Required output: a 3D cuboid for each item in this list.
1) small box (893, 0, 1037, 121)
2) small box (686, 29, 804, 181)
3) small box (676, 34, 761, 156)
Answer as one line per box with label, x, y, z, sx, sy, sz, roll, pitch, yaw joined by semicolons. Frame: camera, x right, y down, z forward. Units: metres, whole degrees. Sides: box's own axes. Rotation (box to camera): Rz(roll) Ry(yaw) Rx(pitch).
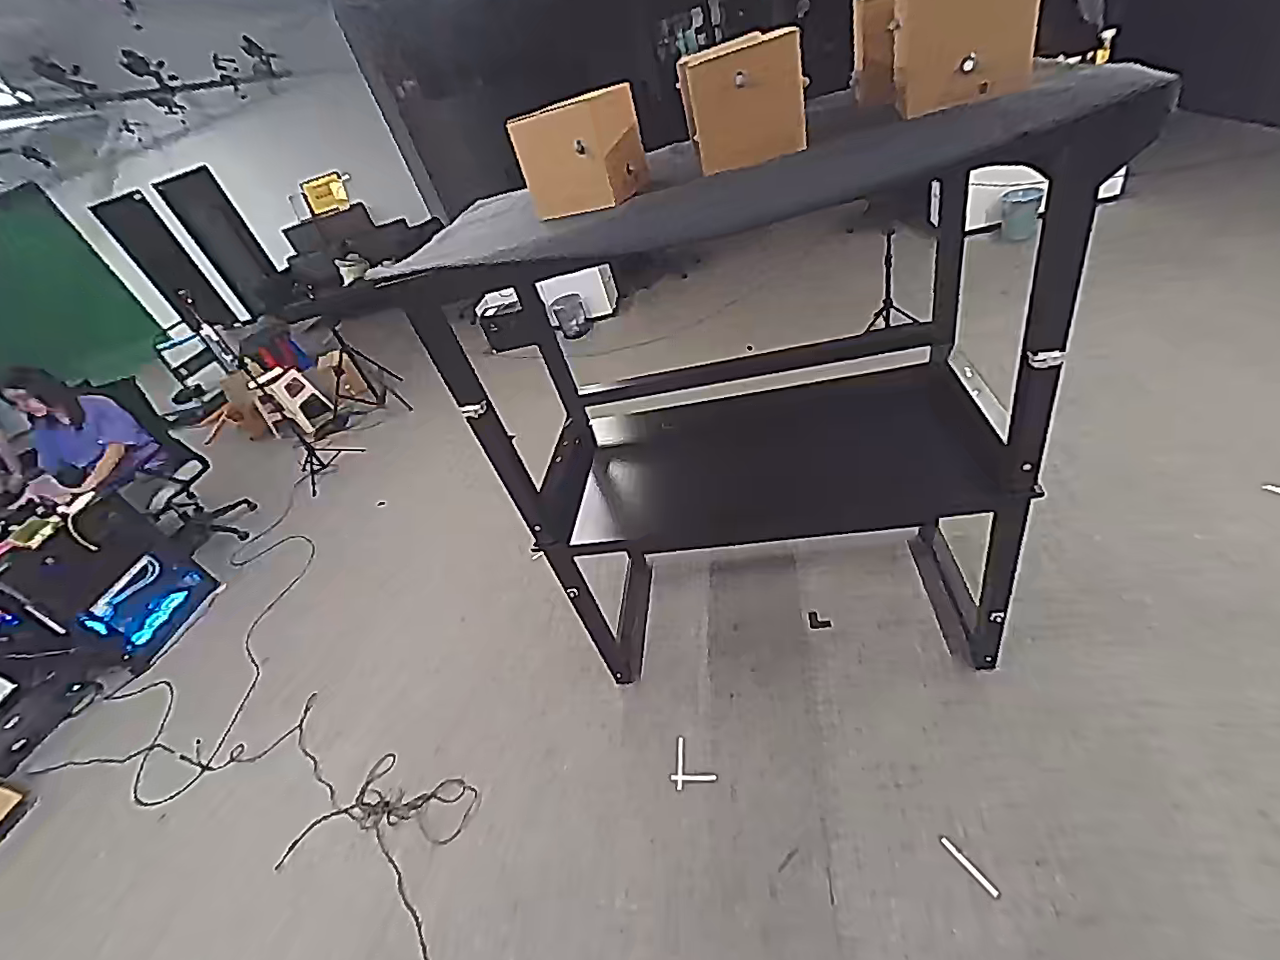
small box;0.494;-0.685;0.845;0.168;0.176;0.179;-4;40;21
small box;0.186;-0.647;0.938;0.179;0.176;0.168;-9;38;15
small box;0.179;-0.805;1.136;0.168;0.176;0.179;-9;39;15
